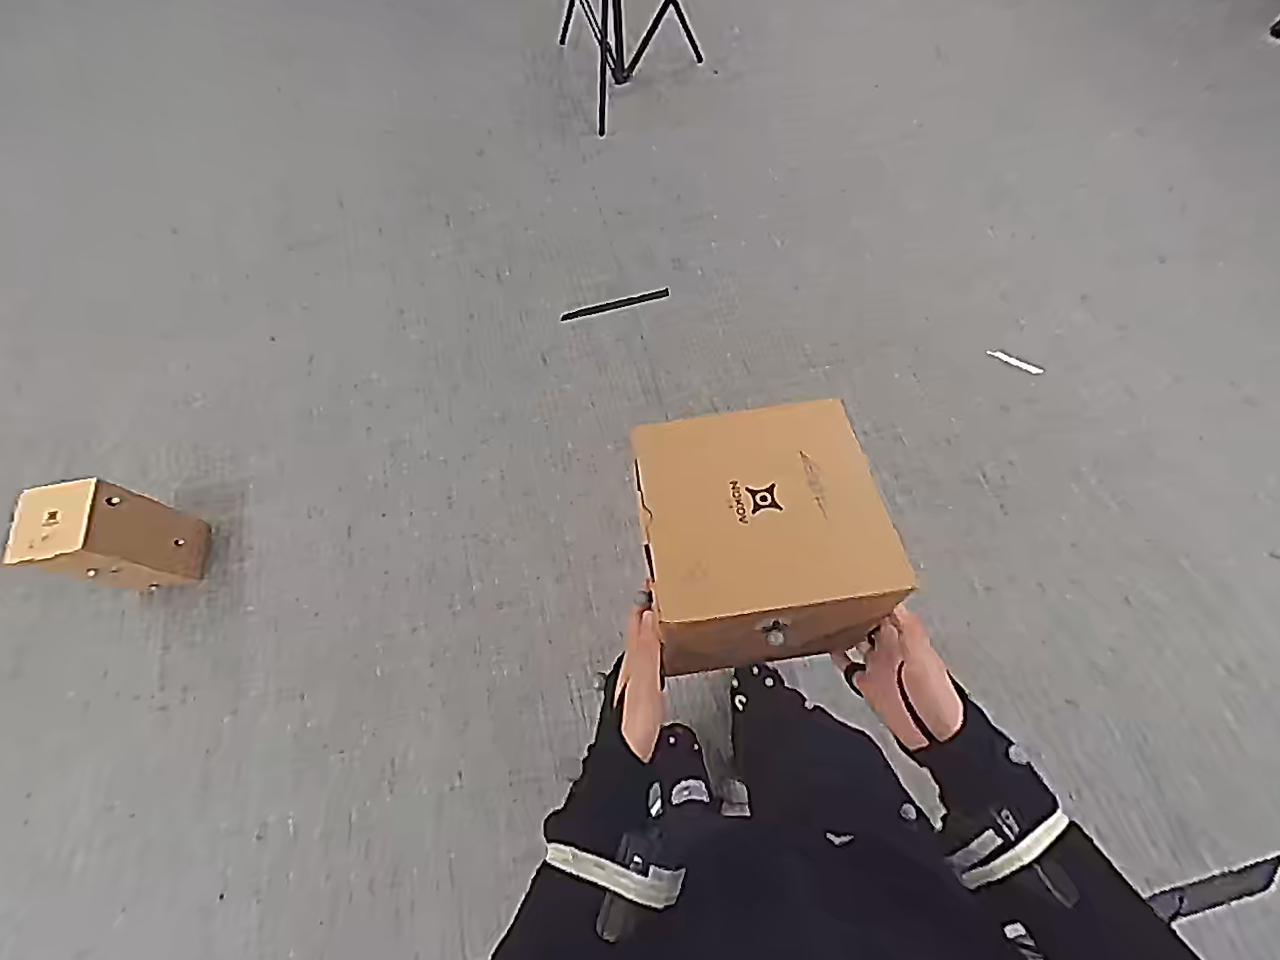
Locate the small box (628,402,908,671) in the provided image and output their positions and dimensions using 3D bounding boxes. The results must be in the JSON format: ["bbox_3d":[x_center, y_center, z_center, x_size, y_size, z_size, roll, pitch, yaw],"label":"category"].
[{"bbox_3d":[0.090,0.057,0.470,0.179,0.176,0.168,-8,59,-2],"label":"small box"}]

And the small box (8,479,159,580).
[{"bbox_3d":[-1.275,0.120,1.256,0.168,0.176,0.179,-10,68,-2],"label":"small box"}]
